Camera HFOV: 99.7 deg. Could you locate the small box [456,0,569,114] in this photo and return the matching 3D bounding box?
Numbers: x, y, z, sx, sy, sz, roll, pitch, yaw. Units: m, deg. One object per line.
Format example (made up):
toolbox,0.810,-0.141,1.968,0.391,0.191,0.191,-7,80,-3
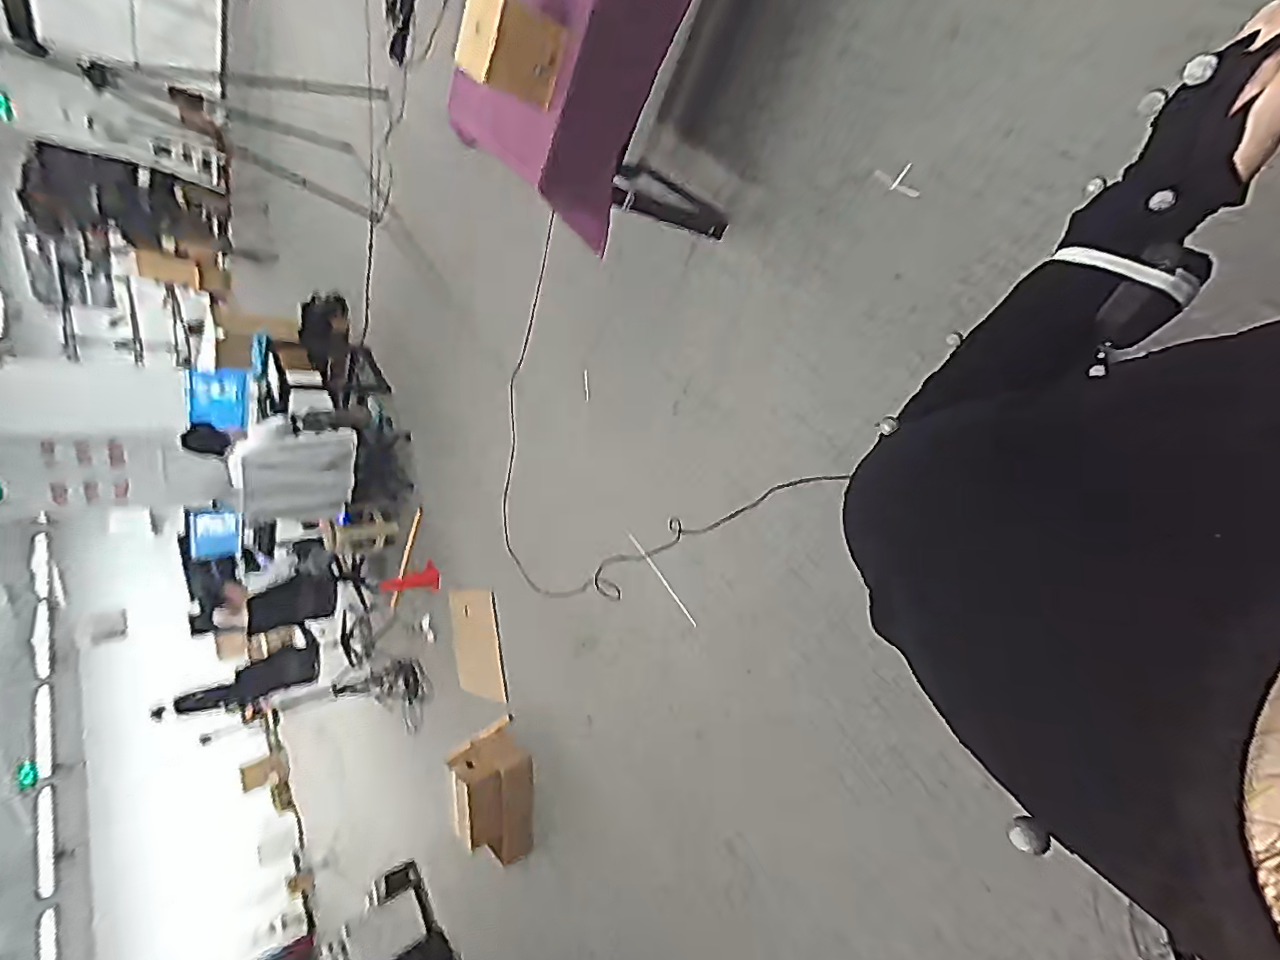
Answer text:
small box,-0.293,-0.981,1.240,0.179,0.176,0.168,50,127,29
